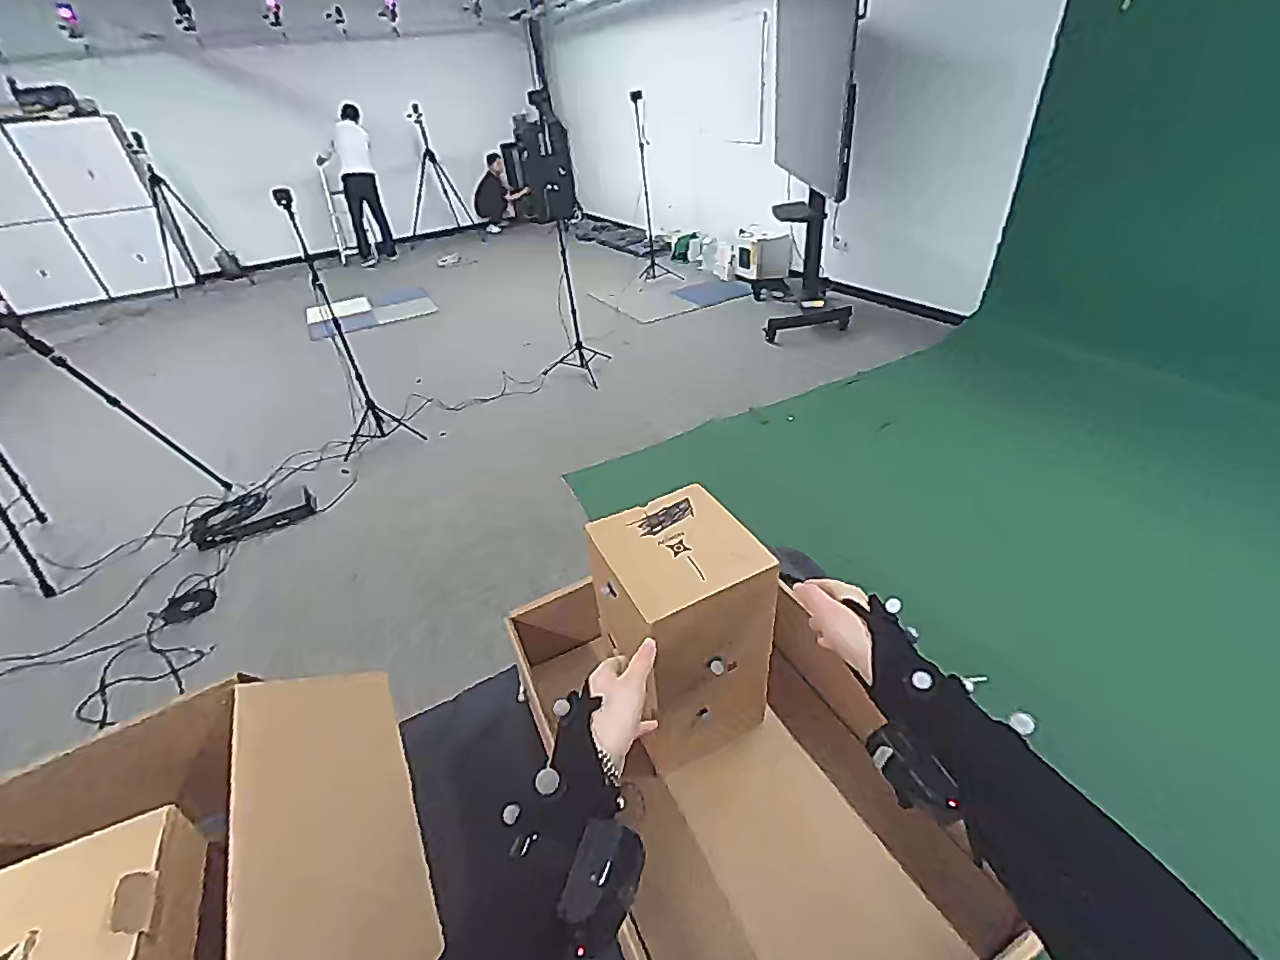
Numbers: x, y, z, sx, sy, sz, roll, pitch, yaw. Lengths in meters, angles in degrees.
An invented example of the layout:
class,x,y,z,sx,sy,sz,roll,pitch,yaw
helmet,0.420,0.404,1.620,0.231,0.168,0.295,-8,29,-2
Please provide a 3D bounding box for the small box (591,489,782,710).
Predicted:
class,x,y,z,sx,sy,sz,roll,pitch,yaw
small box,0.052,0.144,0.673,0.168,0.176,0.179,-20,39,-18

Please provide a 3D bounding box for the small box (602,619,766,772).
class,x,y,z,sx,sy,sz,roll,pitch,yaw
small box,0.066,0.275,0.772,0.179,0.176,0.168,-21,39,-17
